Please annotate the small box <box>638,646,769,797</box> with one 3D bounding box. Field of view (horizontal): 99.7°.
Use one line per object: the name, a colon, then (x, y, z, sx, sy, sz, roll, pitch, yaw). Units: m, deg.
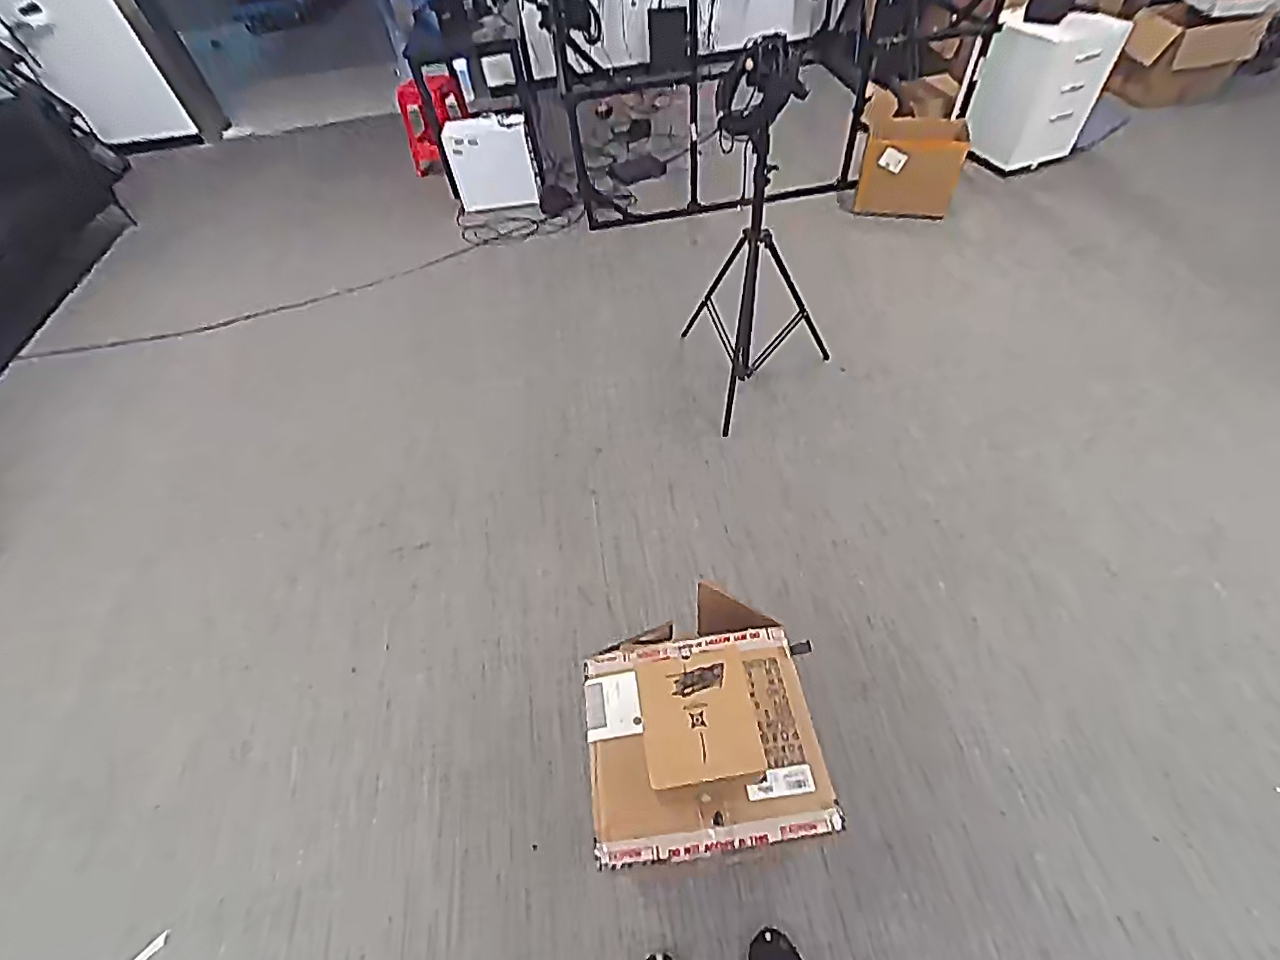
small box: (0.092, 0.384, 0.853, 0.168, 0.176, 0.179, -10, 55, -1)
